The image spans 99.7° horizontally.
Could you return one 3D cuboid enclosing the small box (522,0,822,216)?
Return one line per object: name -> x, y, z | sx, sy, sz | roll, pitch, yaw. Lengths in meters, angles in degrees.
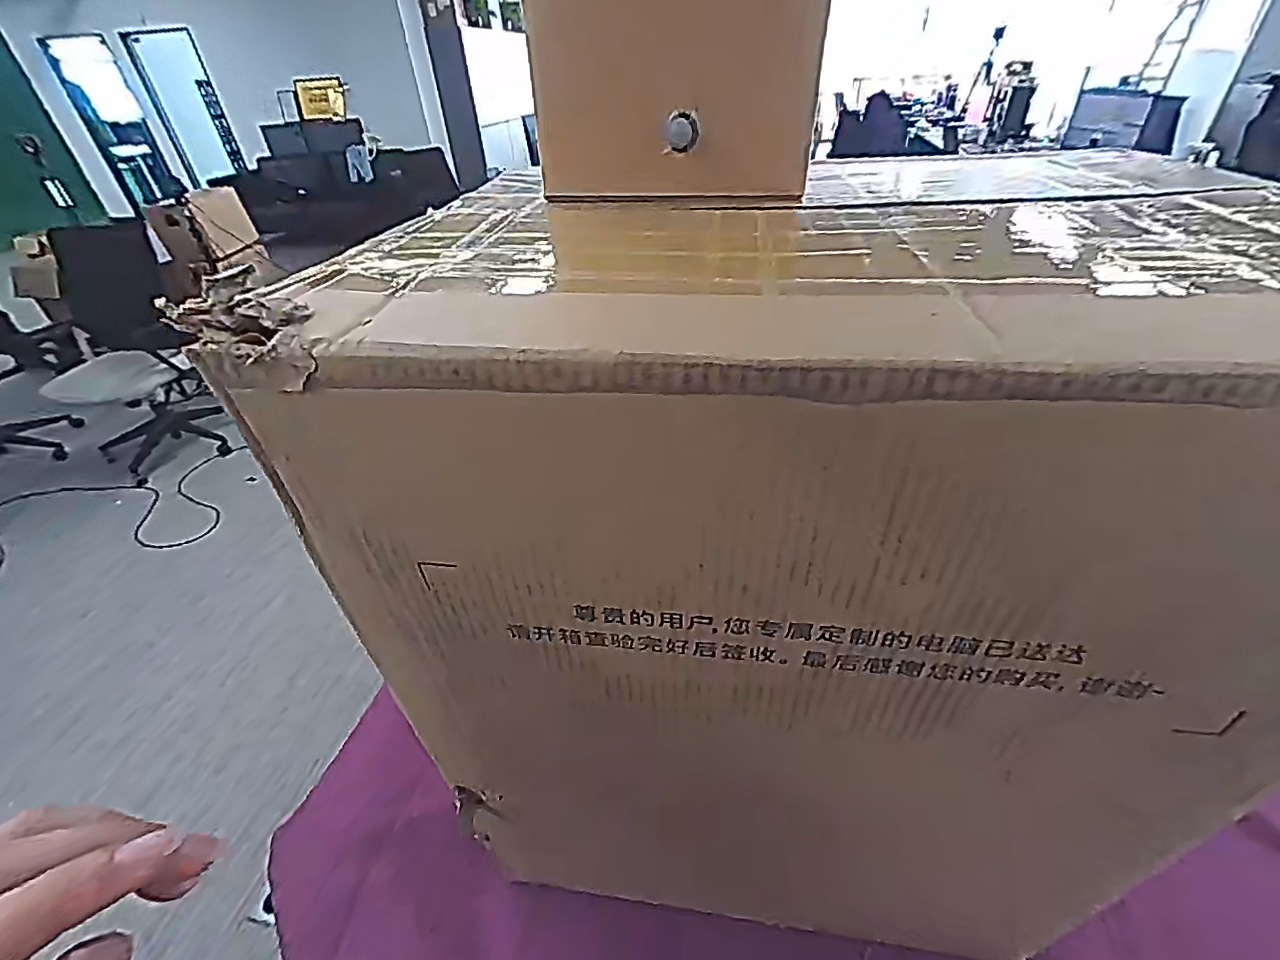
small box -> 0.026, -0.293, 0.378 | 0.179, 0.176, 0.168 | 4, 38, 9
